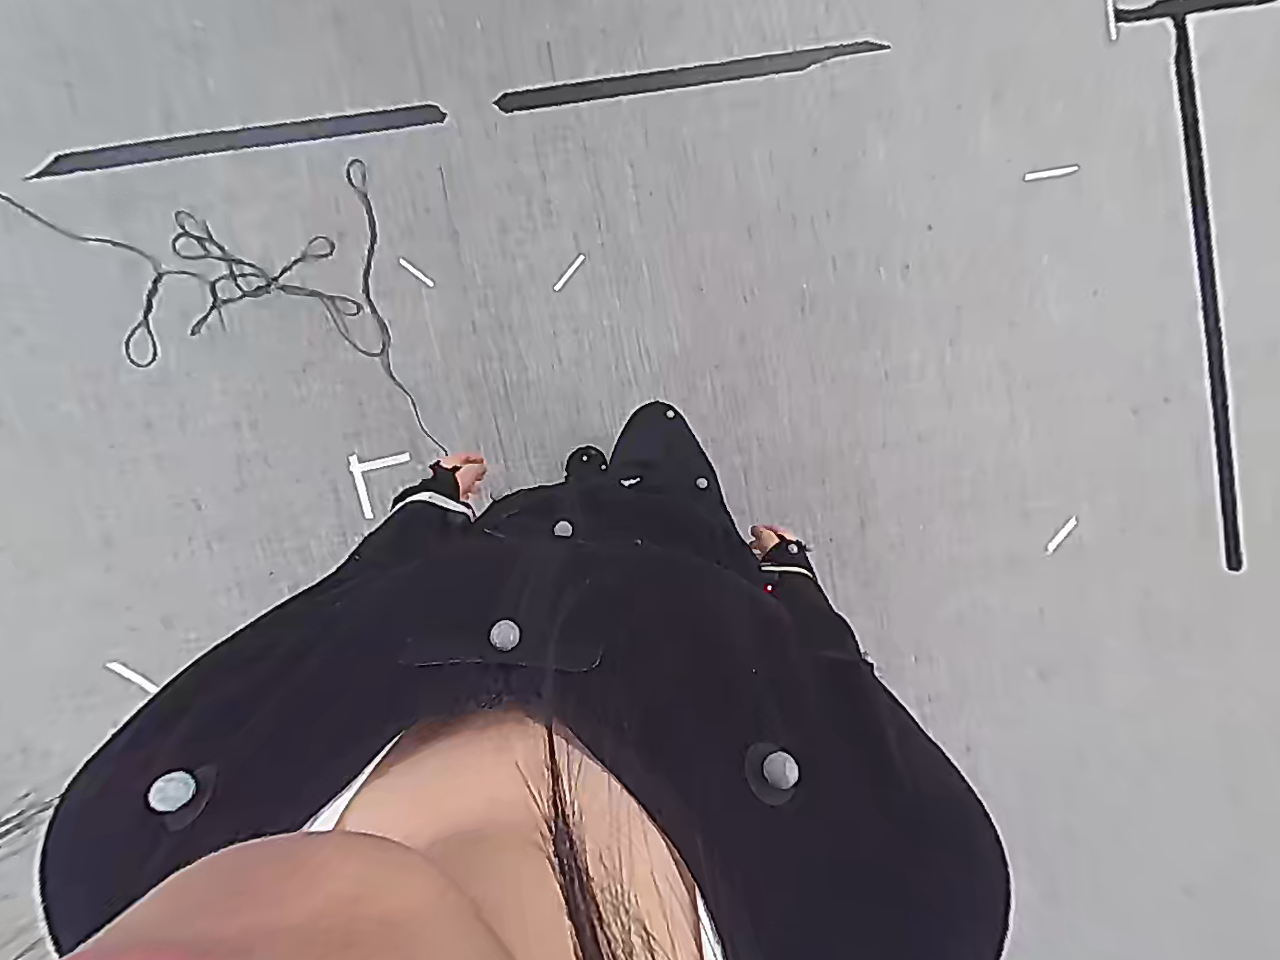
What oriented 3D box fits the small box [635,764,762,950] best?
[{"bbox_3d":[0.084,0.574,0.852,0.168,0.176,0.179,-6,95,-3],"label":"small box"}]
